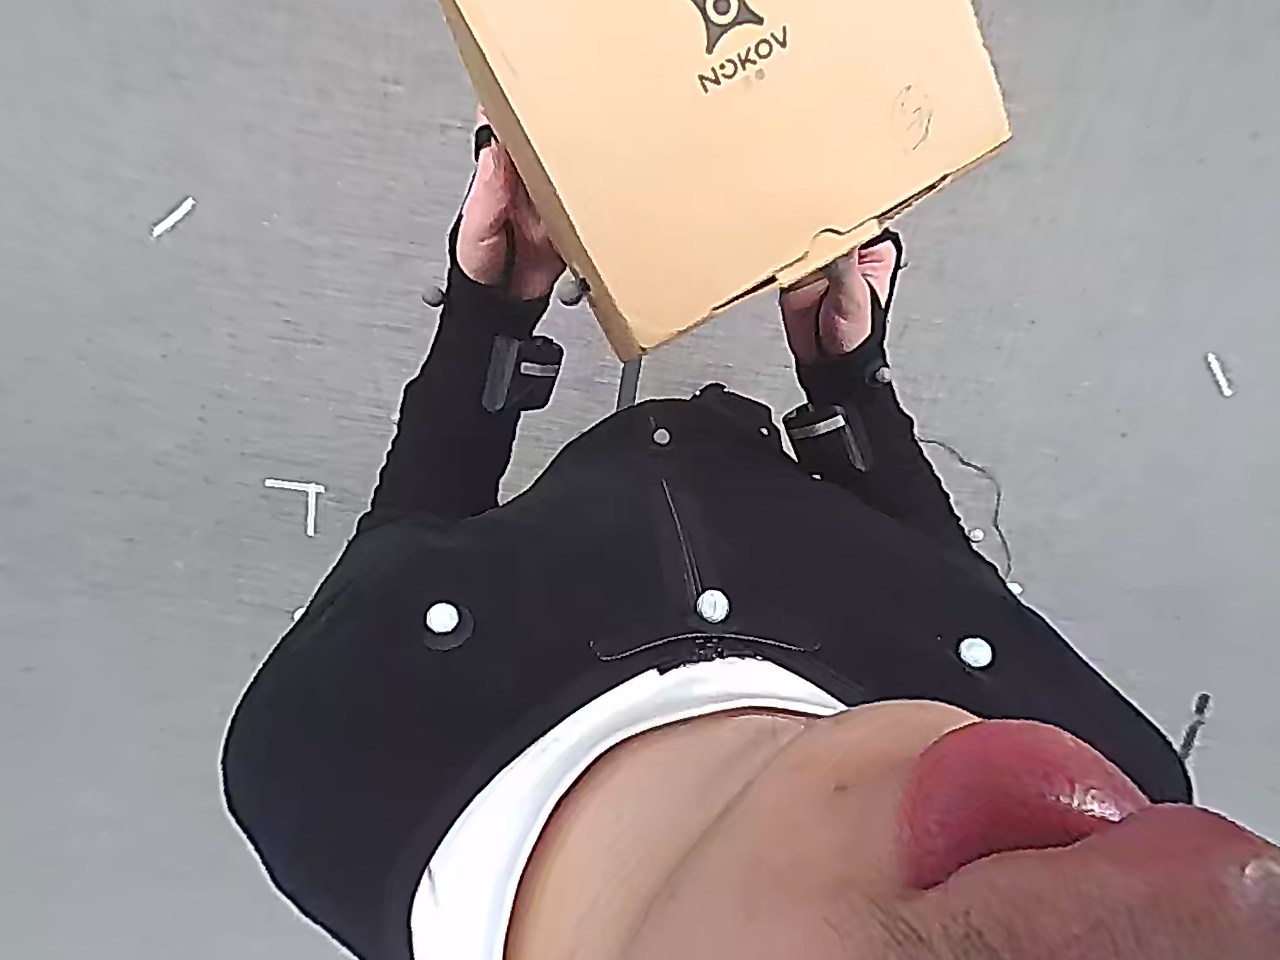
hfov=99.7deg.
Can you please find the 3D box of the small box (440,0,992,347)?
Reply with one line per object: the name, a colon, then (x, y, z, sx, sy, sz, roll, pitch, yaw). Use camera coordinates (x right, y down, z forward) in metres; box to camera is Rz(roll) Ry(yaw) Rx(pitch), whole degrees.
small box: (0.024, -0.184, 0.280, 0.168, 0.176, 0.179, -31, 101, 1)
